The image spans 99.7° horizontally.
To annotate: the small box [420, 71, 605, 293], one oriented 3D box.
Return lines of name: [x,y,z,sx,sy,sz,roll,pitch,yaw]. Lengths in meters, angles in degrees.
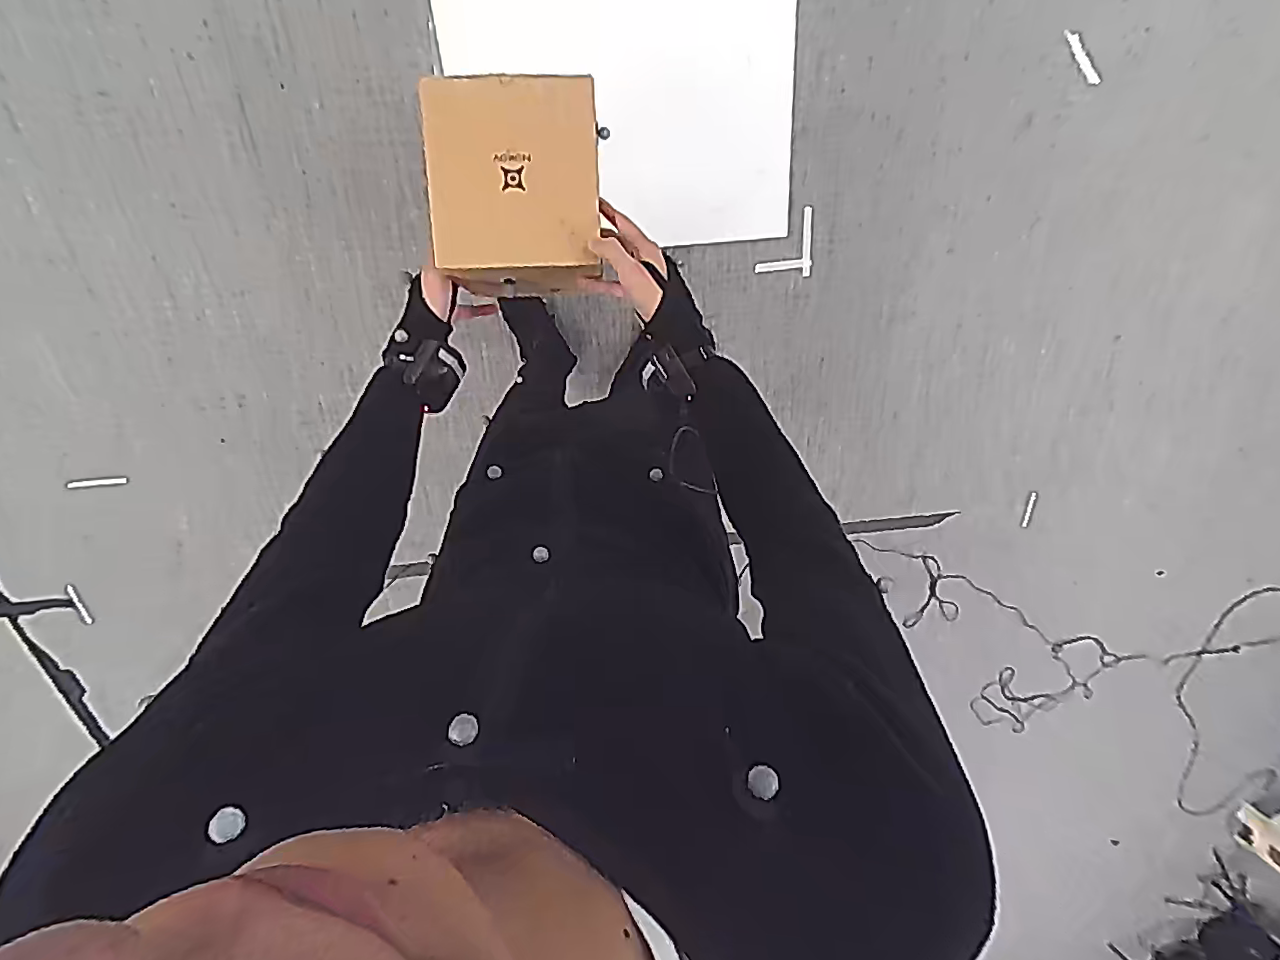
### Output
small box: [-0.126,-0.311,0.602,0.168,0.176,0.179,-3,98,-3]
